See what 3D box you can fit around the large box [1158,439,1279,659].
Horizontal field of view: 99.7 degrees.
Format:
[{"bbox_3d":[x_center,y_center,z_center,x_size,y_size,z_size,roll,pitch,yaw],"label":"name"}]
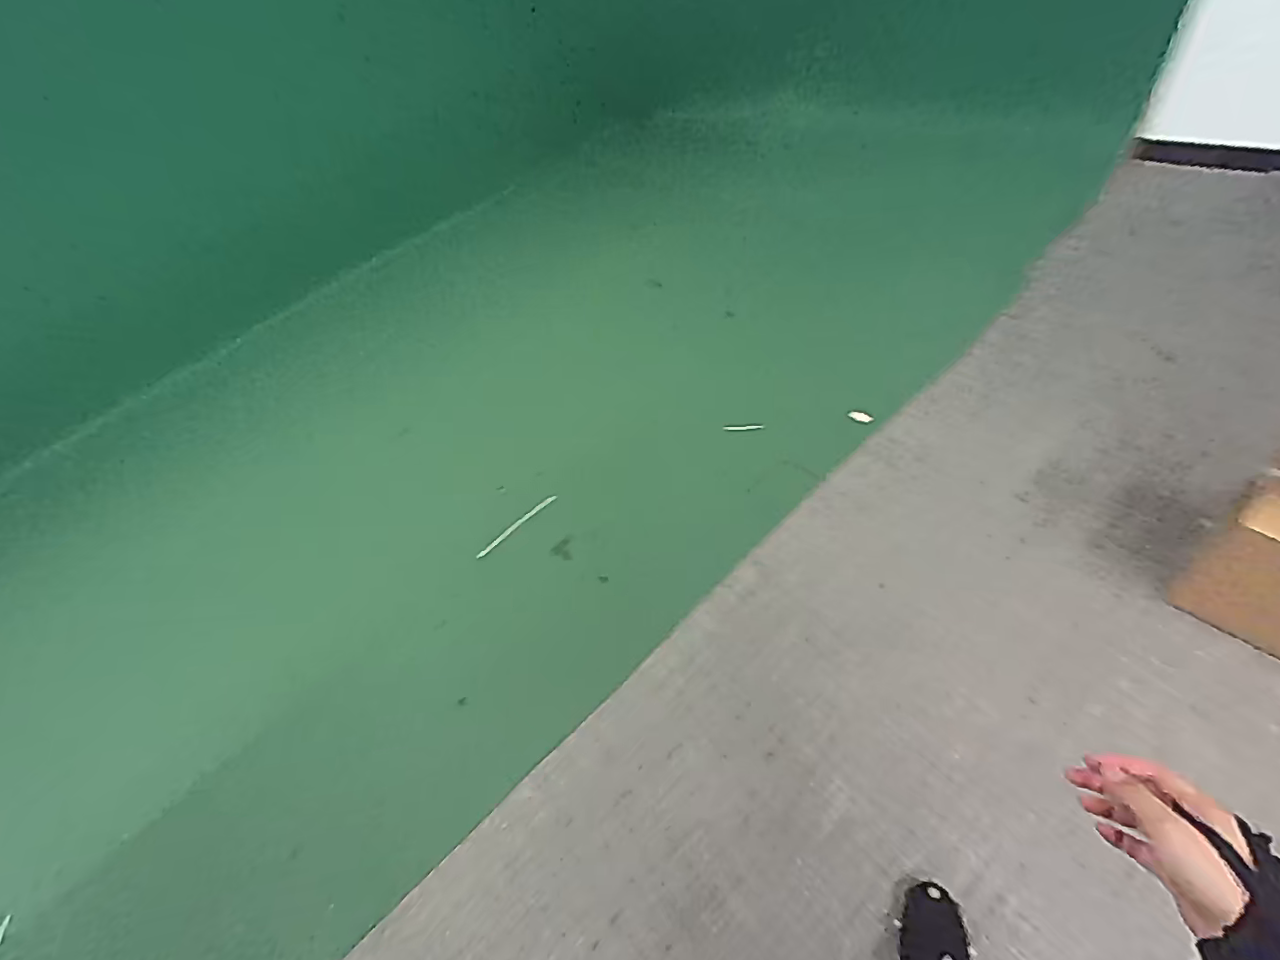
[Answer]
[{"bbox_3d":[1.363,0.173,1.038,0.320,0.320,0.408,-42,54,-17],"label":"large box"}]
